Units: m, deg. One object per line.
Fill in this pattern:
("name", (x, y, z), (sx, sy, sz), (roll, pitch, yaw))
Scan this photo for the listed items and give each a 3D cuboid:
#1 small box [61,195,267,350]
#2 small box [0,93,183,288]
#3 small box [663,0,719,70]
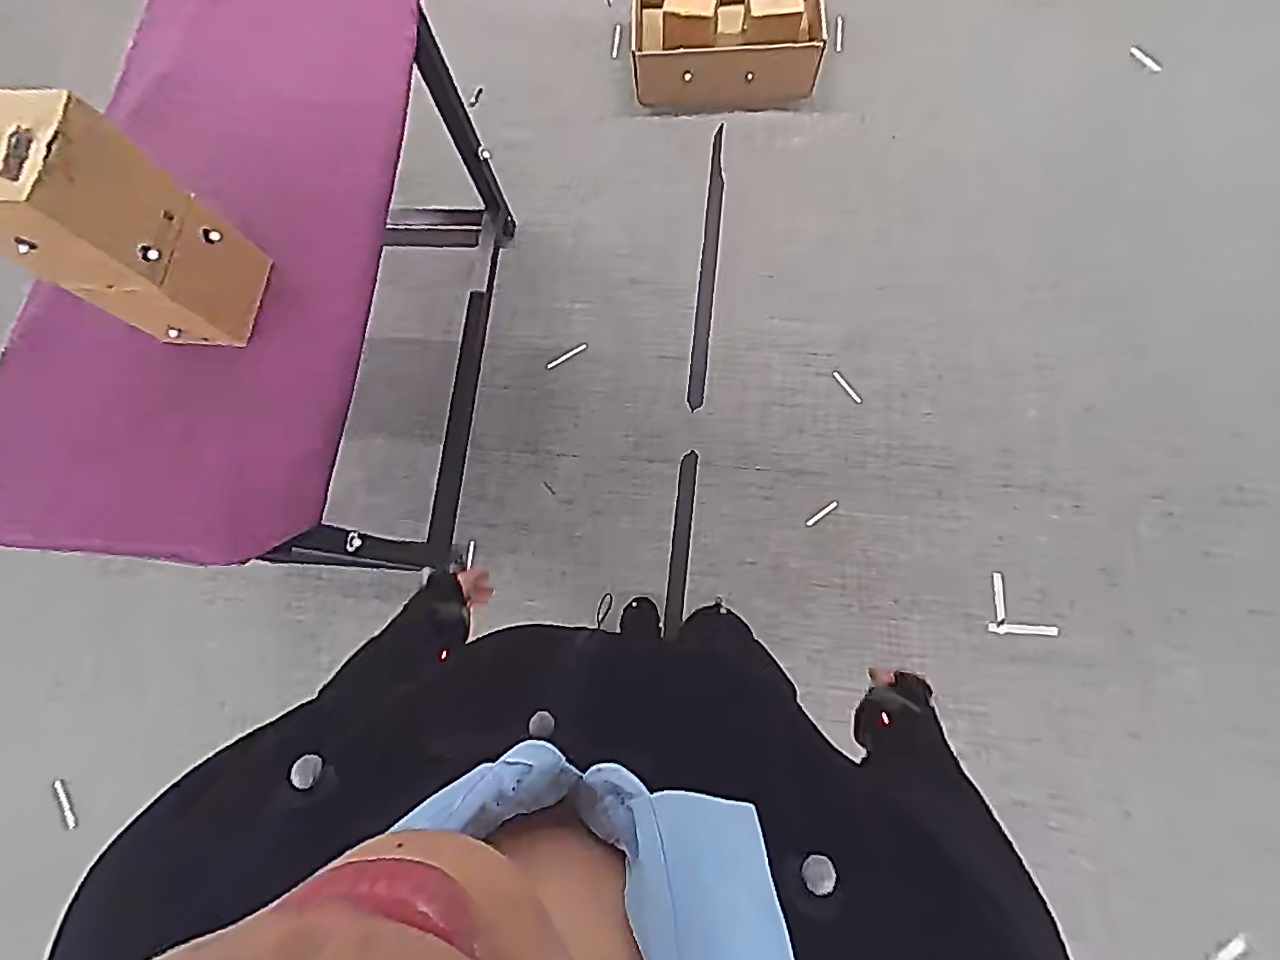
("small box", (-0.759, -0.337, 0.885), (0.168, 0.176, 0.179), (5, 76, 6))
("small box", (-0.778, -0.378, 0.727), (0.179, 0.176, 0.168), (3, 76, 6))
("small box", (0.170, -1.539, 1.821), (0.168, 0.176, 0.179), (10, 77, 5))
